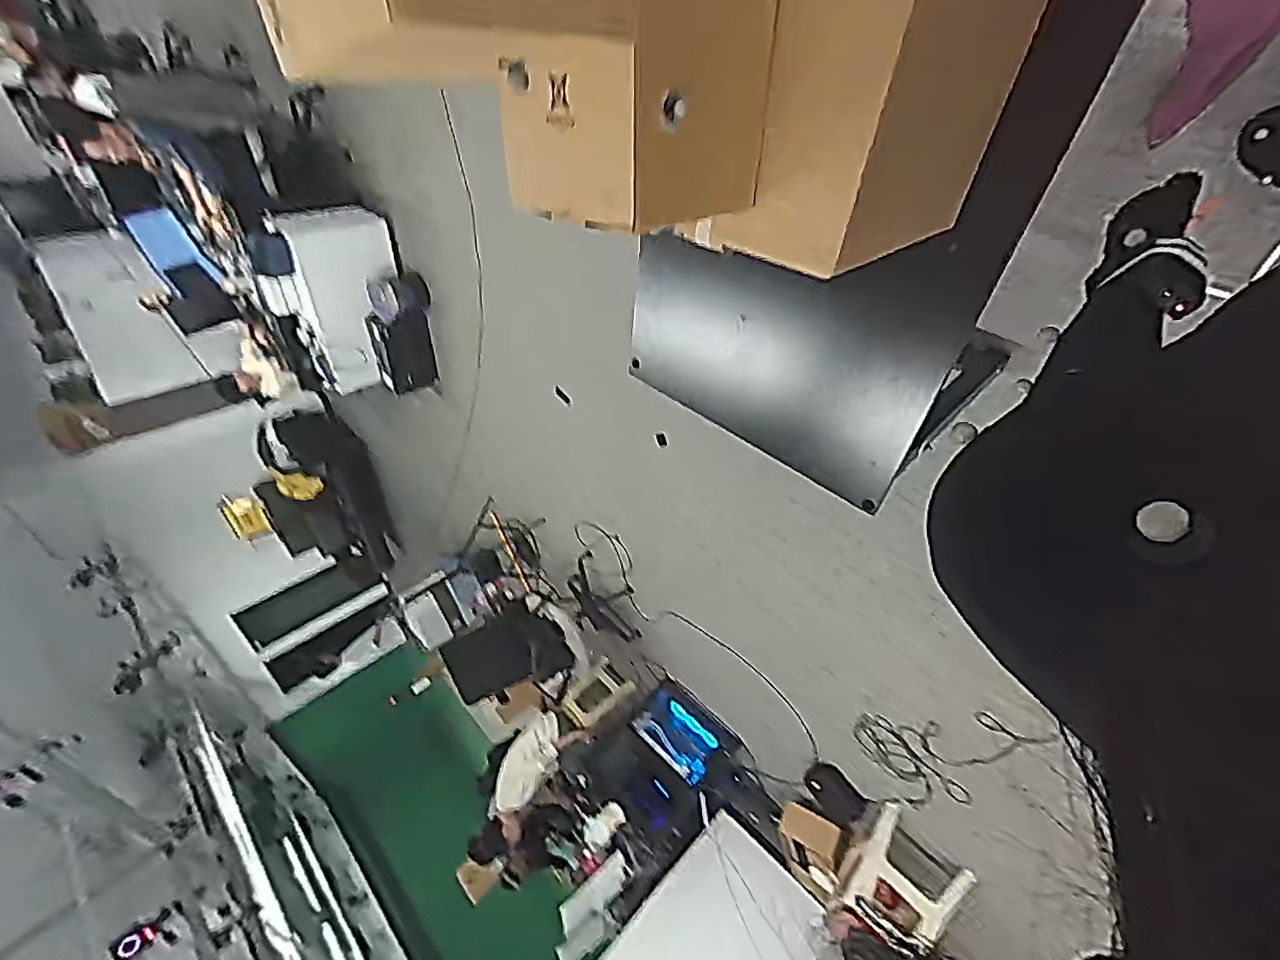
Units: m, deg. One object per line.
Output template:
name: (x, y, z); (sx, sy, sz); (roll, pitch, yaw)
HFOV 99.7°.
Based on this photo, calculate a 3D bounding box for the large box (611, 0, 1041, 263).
large box: (0.187, -0.479, 0.537); (0.320, 0.320, 0.408); (33, 137, 31)

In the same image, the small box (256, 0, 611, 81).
small box: (-0.129, -0.347, 0.314); (0.179, 0.176, 0.168); (23, 132, 39)
